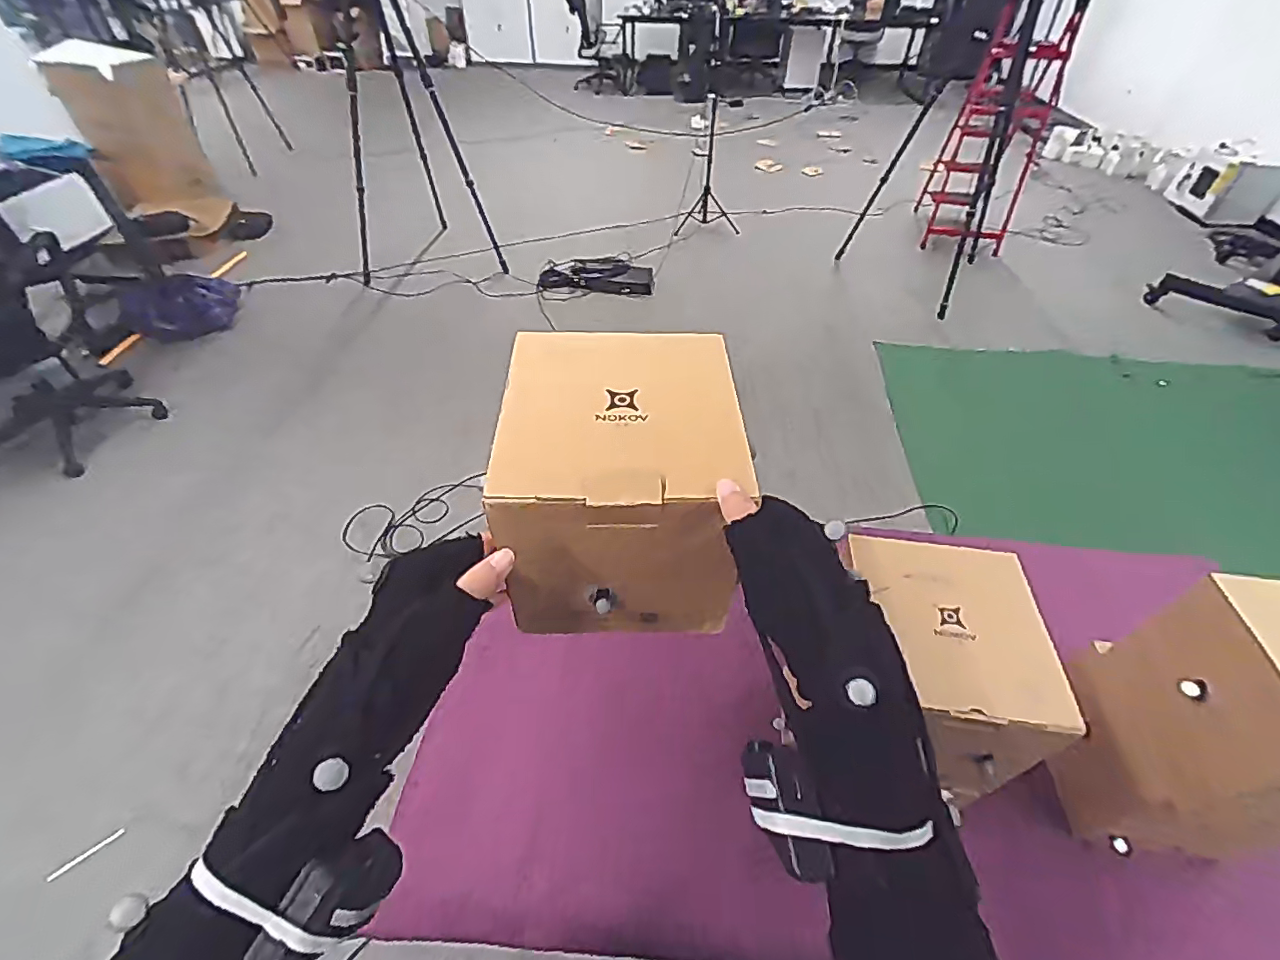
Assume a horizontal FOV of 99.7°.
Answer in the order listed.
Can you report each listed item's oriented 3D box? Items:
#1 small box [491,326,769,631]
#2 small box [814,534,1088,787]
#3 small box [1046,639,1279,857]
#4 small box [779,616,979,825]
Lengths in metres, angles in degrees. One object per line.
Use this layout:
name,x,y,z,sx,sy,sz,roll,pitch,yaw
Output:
small box,-0.010,0.001,0.428,0.168,0.176,0.179,0,49,-3
small box,0.278,0.181,0.537,0.168,0.176,0.179,7,47,5
small box,0.610,0.317,0.634,0.168,0.176,0.179,9,48,6
small box,0.269,0.294,0.655,0.168,0.176,0.179,8,48,6
